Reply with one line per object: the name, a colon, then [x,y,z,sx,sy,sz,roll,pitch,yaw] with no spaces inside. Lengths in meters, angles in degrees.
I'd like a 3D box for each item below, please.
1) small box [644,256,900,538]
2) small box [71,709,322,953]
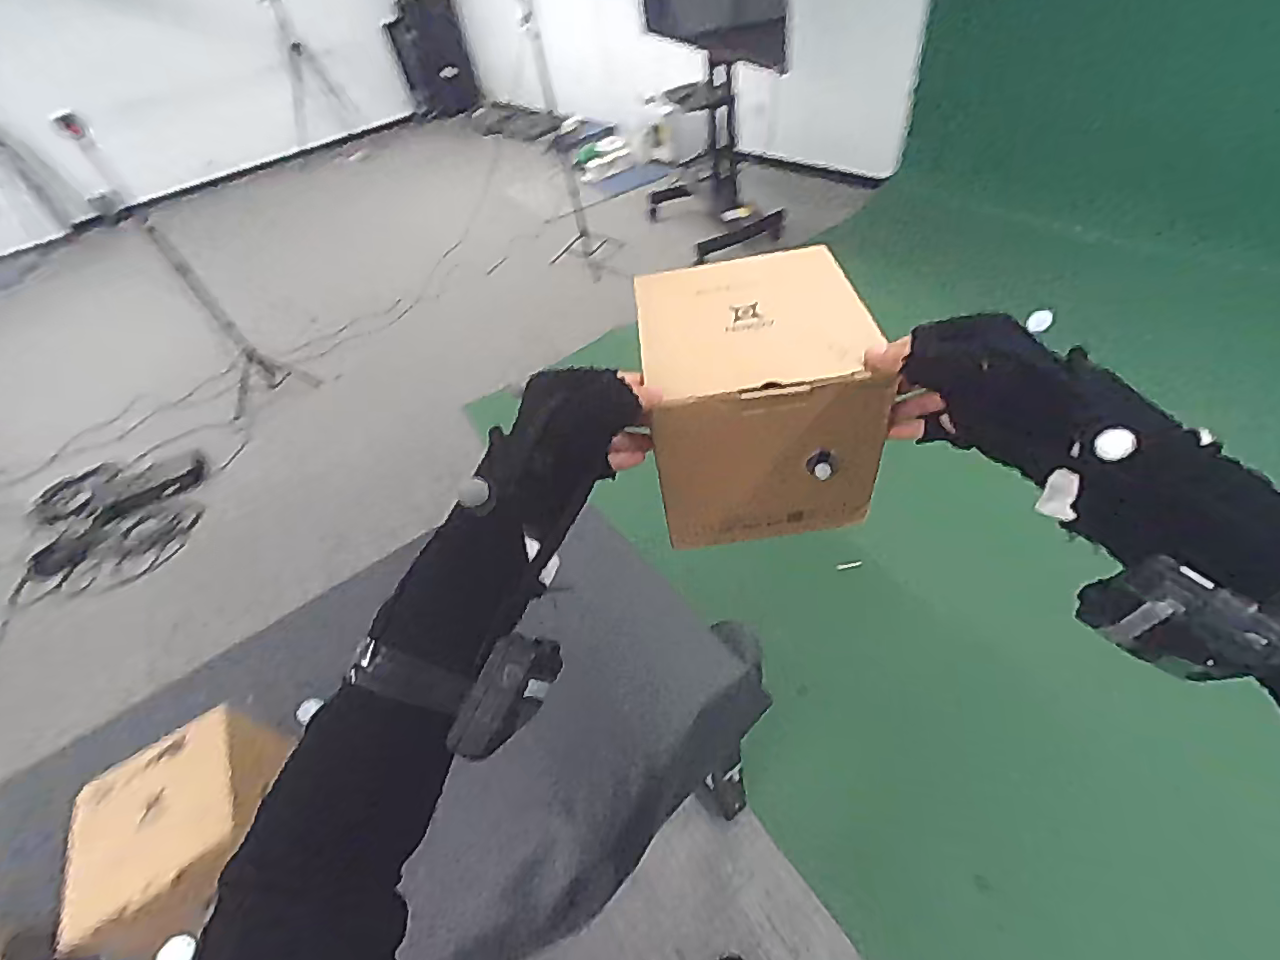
small box: [0.098,-0.064,0.467,0.168,0.176,0.179,-7,46,4]
small box: [-0.521,0.425,0.659,0.168,0.176,0.179,-31,48,-17]
